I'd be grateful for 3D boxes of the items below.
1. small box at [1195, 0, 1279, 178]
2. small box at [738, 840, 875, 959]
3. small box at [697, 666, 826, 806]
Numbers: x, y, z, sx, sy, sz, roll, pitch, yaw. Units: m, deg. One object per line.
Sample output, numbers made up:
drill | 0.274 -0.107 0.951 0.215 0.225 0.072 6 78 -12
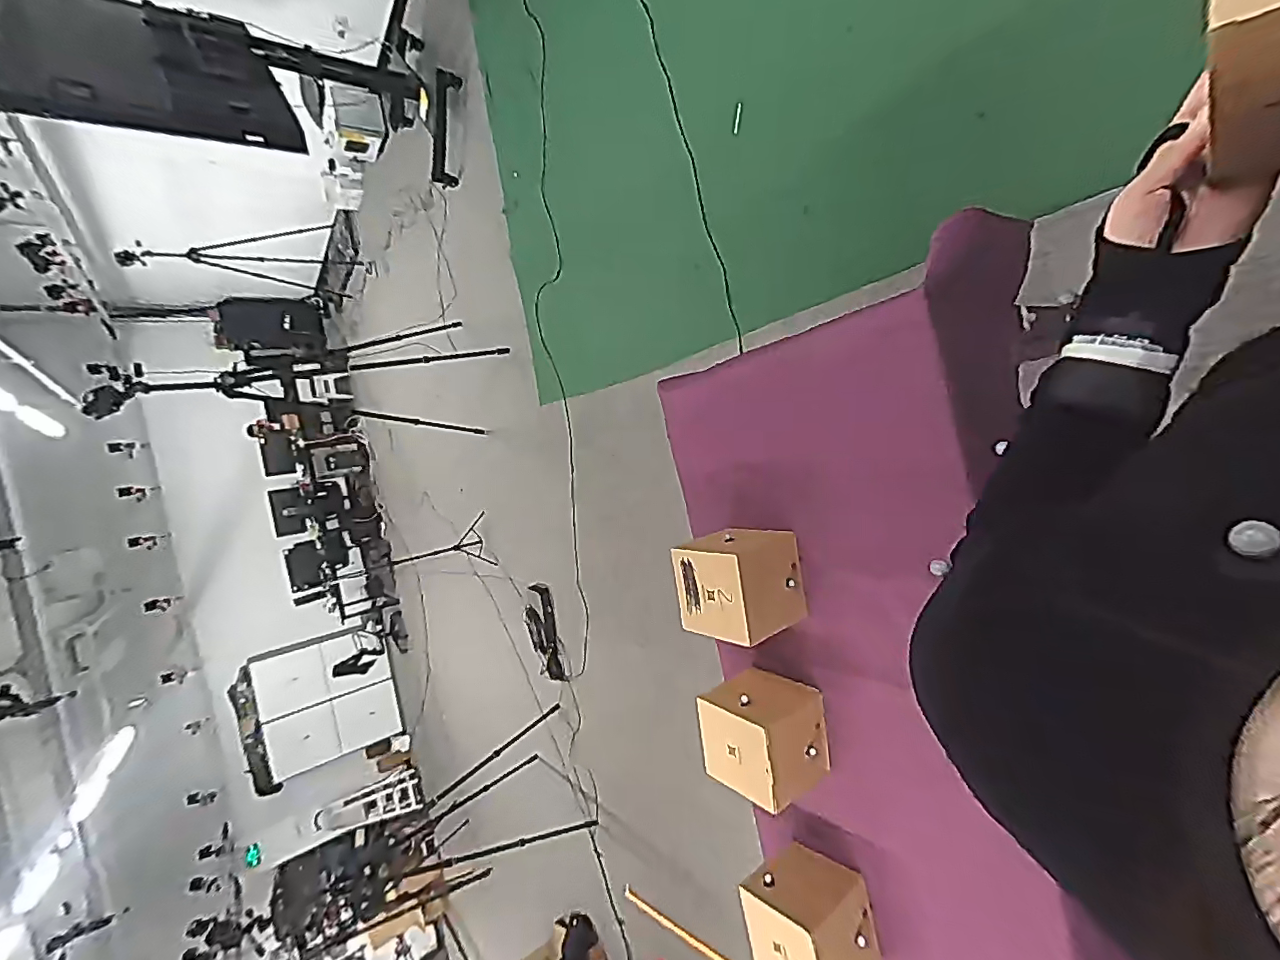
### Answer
small box | 0.380 -0.278 0.241 0.179 0.168 0.176 7 93 46
small box | 0.321 0.844 1.047 0.179 0.176 0.168 -11 91 54
small box | 0.238 0.486 1.061 0.179 0.176 0.168 1 100 52
